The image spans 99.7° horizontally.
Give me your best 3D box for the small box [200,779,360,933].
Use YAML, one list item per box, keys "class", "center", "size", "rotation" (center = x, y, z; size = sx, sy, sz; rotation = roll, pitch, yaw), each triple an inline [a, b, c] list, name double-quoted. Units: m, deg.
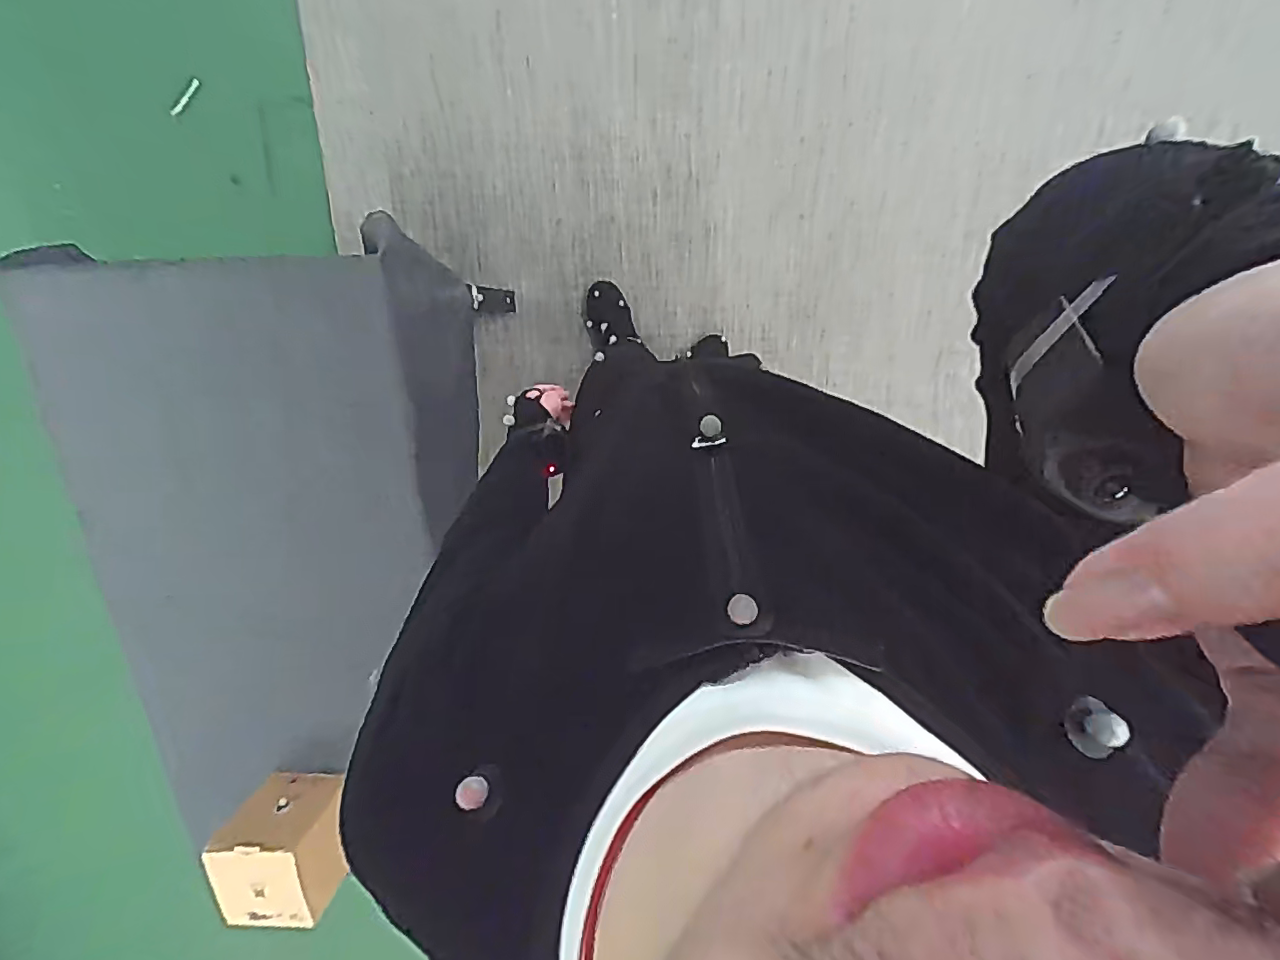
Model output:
- class: "small box"
  center: [-0.651, 0.685, 1.000]
  size: [0.168, 0.176, 0.179]
  rotation: [-1, 105, 4]
